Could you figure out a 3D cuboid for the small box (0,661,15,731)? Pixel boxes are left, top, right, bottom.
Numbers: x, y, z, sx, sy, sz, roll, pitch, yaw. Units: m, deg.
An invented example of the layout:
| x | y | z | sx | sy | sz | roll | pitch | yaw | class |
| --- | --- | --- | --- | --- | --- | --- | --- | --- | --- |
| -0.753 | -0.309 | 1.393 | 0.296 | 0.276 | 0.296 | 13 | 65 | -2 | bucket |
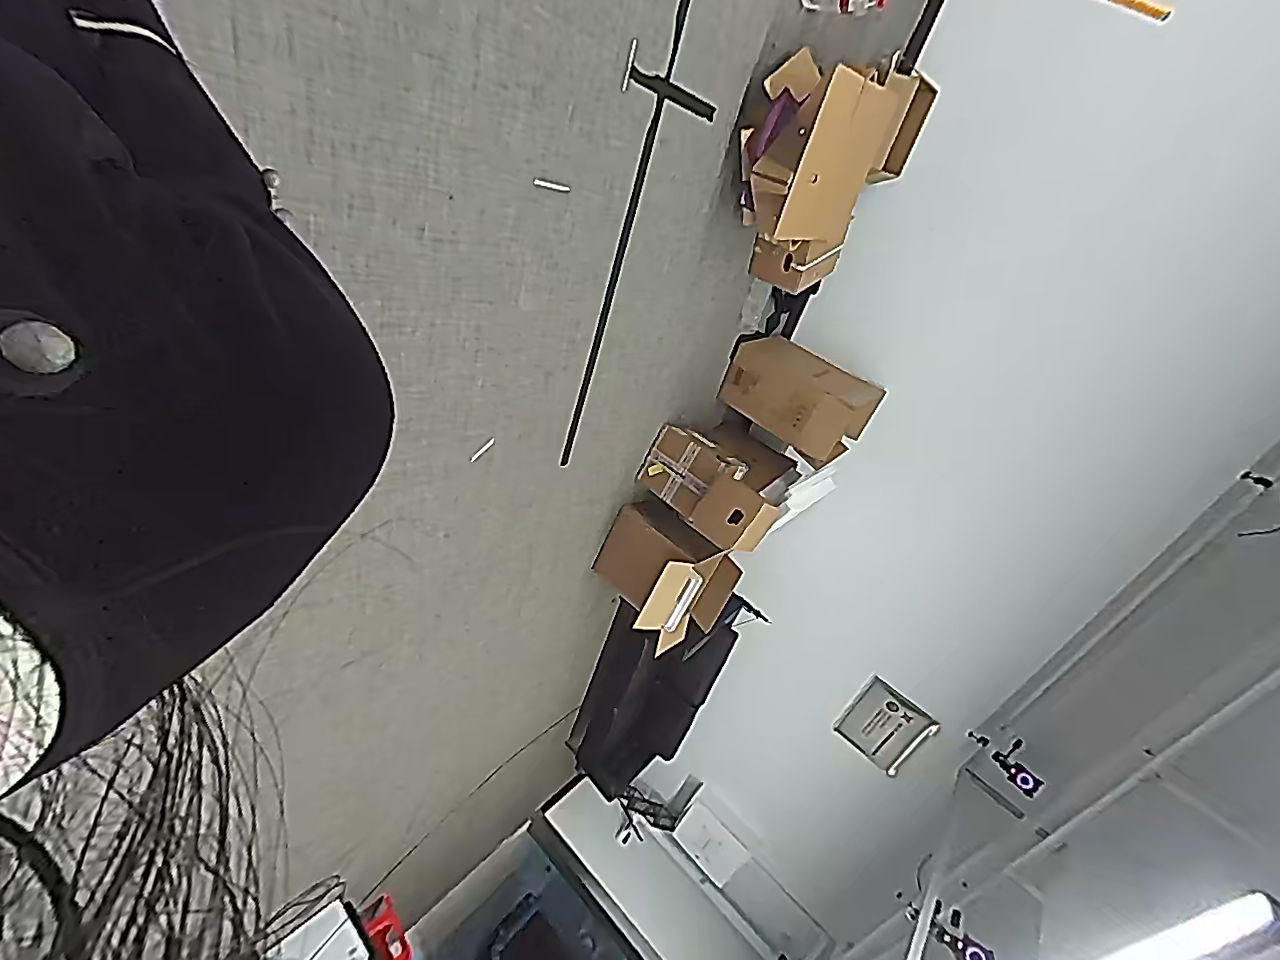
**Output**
| x | y | z | sx | sy | sz | roll | pitch | yaw | class |
| --- | --- | --- | --- | --- | --- | --- | --- | --- | --- |
| -1.570 | 0.486 | 1.219 | 0.179 | 0.176 | 0.168 | -16 | 135 | -53 | small box |
